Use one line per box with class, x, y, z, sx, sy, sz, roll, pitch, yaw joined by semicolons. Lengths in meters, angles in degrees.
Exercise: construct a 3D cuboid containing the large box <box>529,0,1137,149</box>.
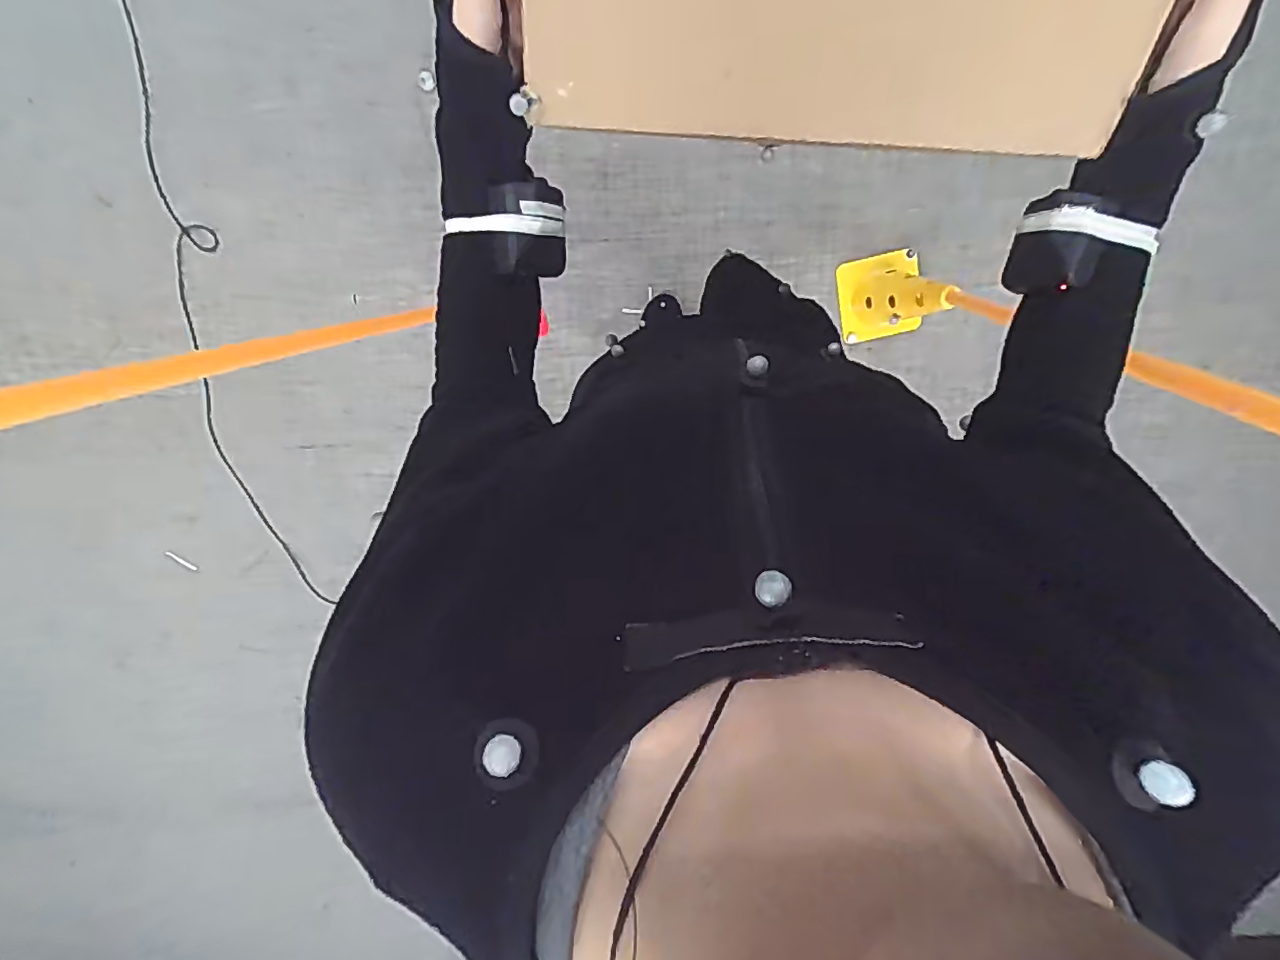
large box;0.132;-0.459;0.436;0.408;0.320;0.320;3;122;-1
